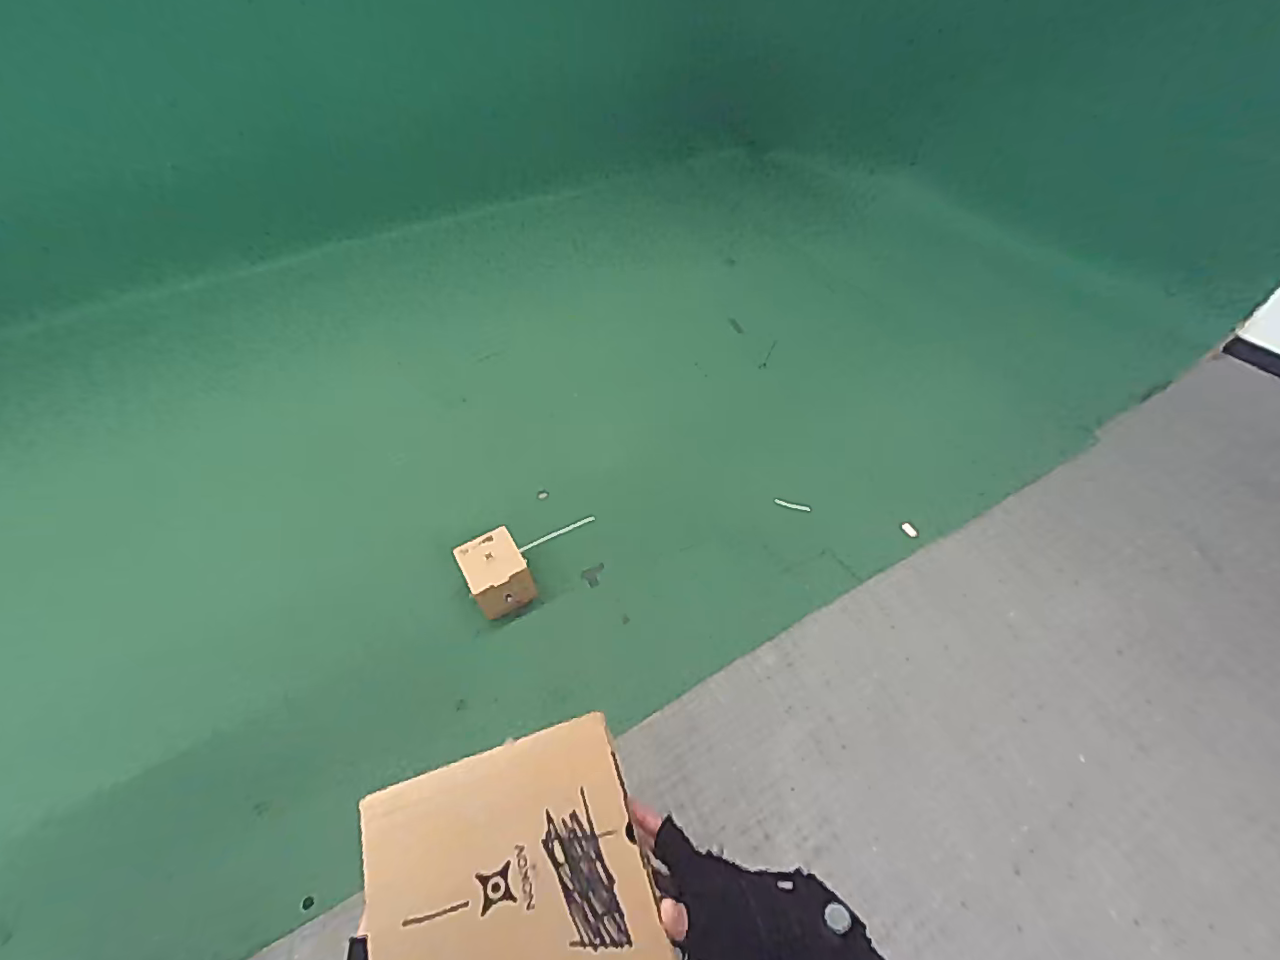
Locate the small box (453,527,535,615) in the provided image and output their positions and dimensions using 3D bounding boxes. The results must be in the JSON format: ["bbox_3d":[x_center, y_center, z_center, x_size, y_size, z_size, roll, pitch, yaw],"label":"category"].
[{"bbox_3d":[-0.426,0.277,1.598,0.168,0.176,0.179,-26,55,-18],"label":"small box"}]
